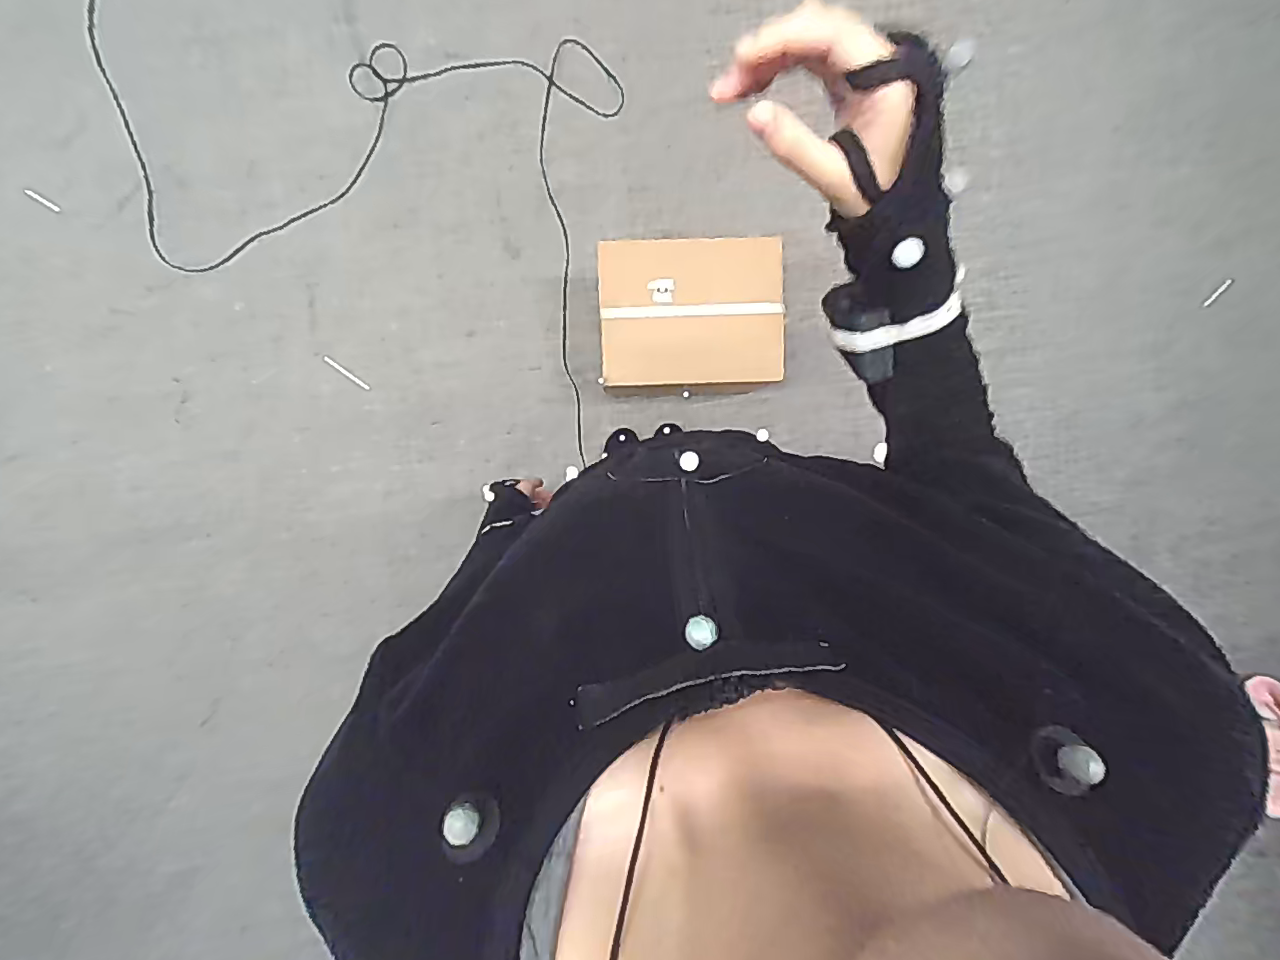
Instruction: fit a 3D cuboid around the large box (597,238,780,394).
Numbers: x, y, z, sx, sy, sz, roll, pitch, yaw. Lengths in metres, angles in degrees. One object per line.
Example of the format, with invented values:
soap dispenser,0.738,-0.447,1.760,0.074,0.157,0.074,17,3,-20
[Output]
large box,0.109,-0.383,1.339,0.408,0.320,0.320,-2,94,-1
